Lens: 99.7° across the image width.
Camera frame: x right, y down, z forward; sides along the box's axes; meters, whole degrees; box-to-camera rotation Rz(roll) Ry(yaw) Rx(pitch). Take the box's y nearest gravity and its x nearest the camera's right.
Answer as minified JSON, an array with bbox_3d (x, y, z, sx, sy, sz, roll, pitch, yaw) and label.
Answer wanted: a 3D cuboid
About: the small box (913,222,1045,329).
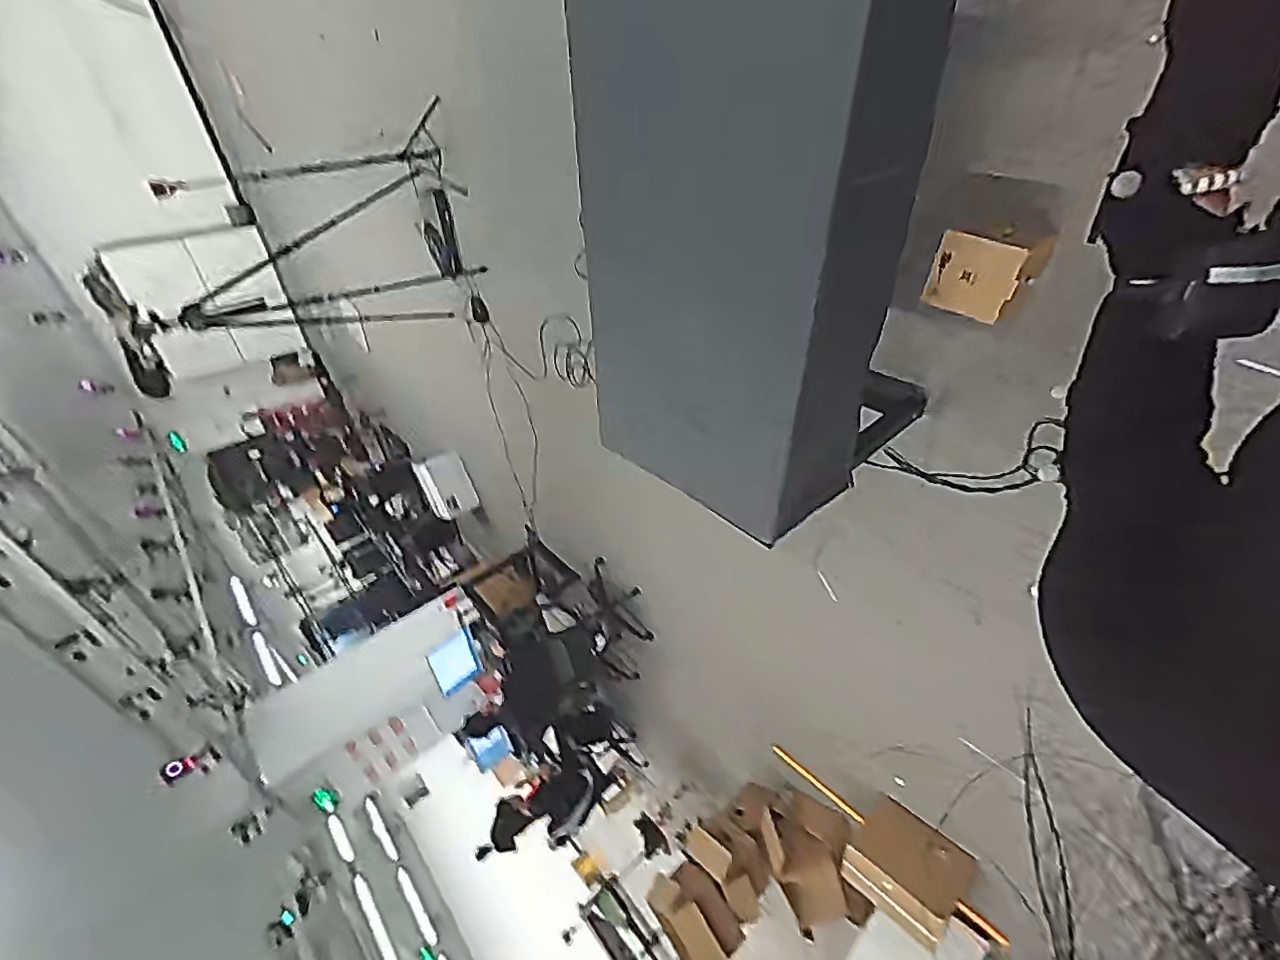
[{"bbox_3d":[0.764,-0.468,1.220,0.179,0.176,0.168,36,141,32],"label":"small box"}]
